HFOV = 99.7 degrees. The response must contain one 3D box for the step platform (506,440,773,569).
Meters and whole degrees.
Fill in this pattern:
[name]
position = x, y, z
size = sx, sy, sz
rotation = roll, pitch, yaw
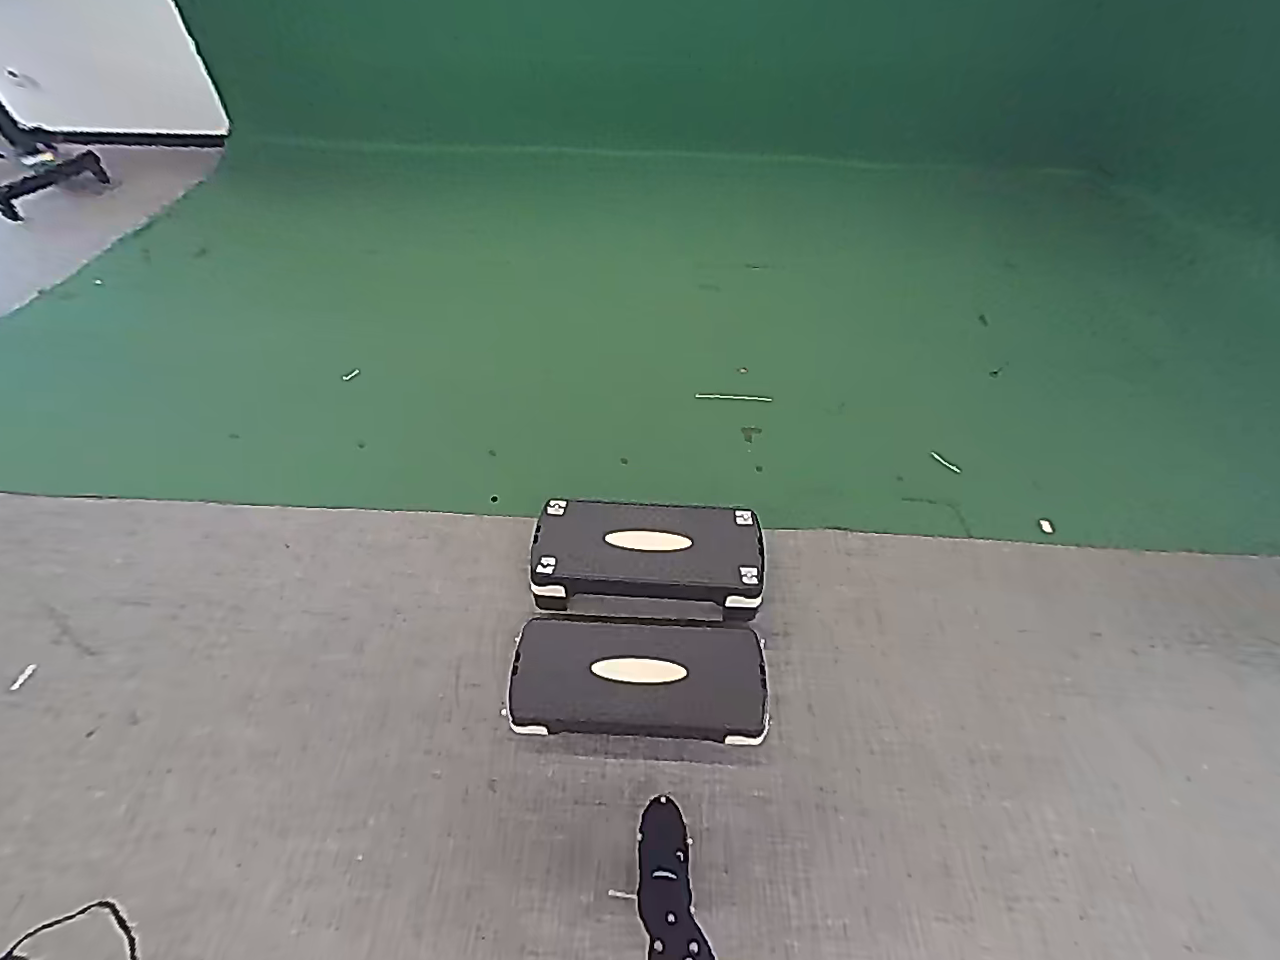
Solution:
[step platform]
position = -0.001, 0.070, 1.474
size = 0.684, 0.204, 0.286
rotation = 2, 51, 2
